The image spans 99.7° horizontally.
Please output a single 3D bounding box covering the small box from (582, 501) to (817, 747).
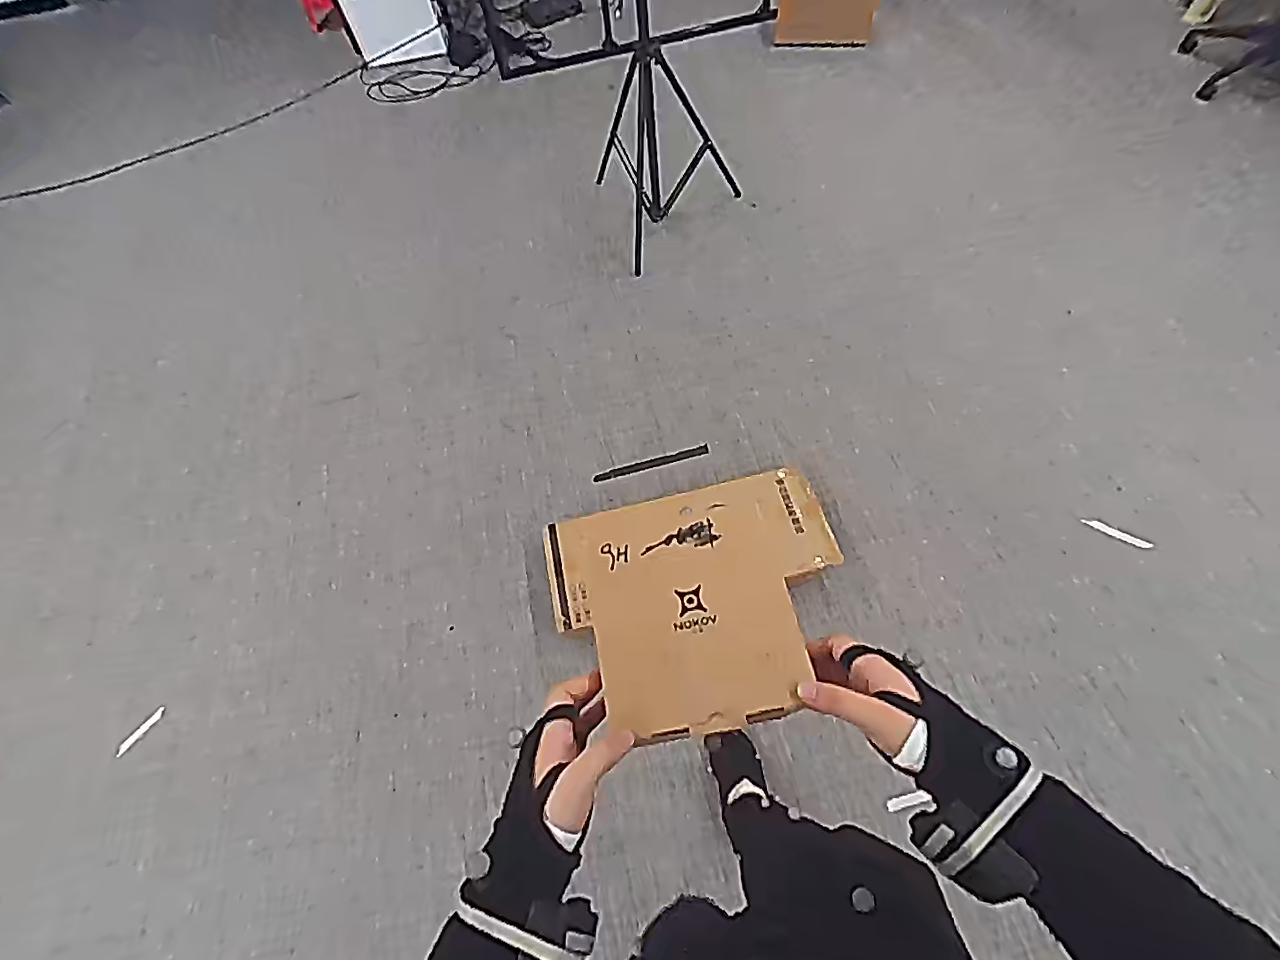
[{"bbox_3d":[0.048,0.145,0.520,0.168,0.176,0.179,-12,64,-2],"label":"small box"}]
